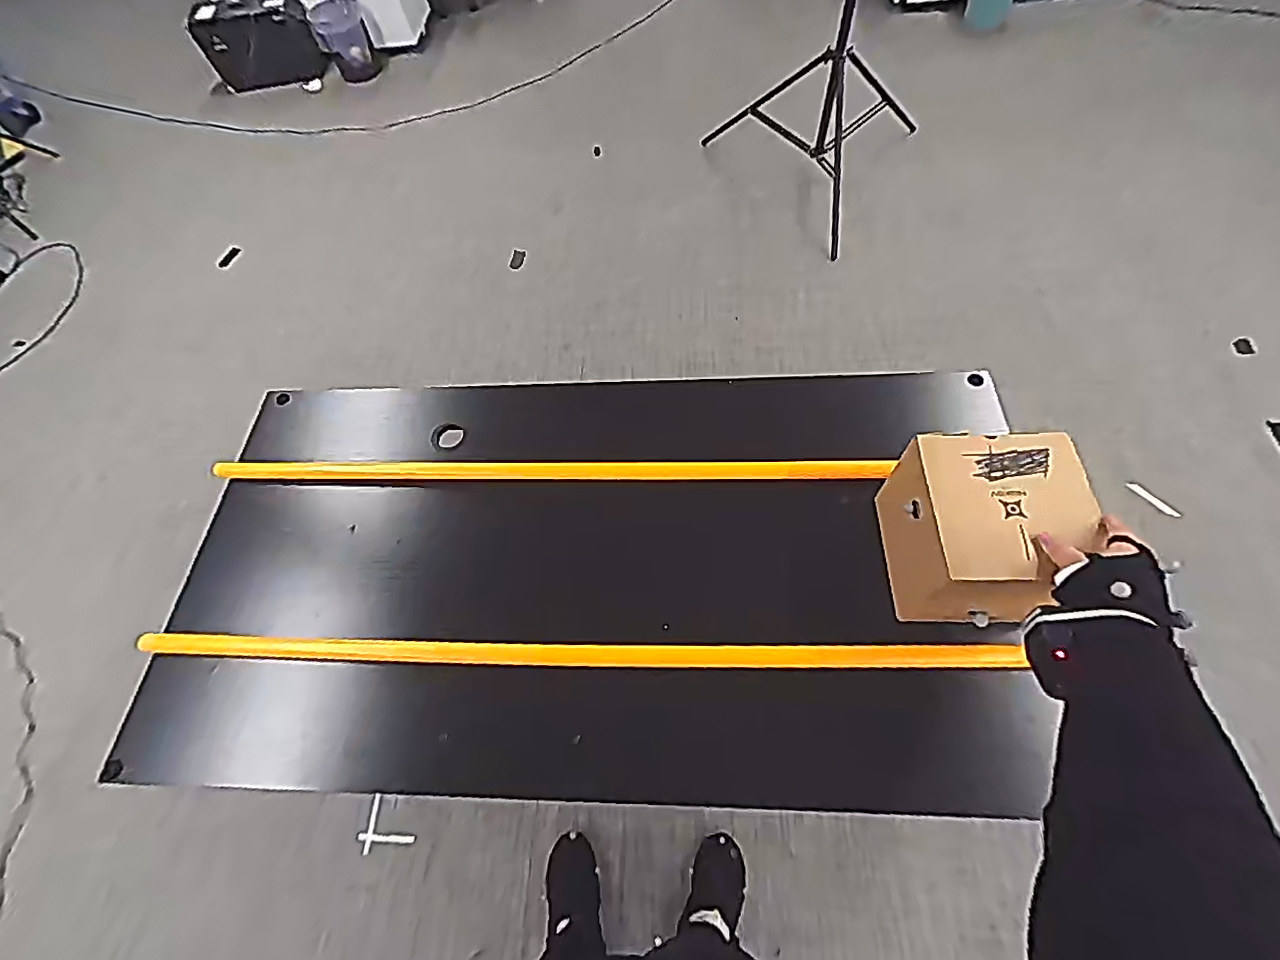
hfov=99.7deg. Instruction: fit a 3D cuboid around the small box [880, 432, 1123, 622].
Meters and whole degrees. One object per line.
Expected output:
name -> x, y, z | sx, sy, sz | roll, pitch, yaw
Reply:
small box -> 0.402, 0.060, 0.645 | 0.168, 0.176, 0.179 | -1, 62, 6
